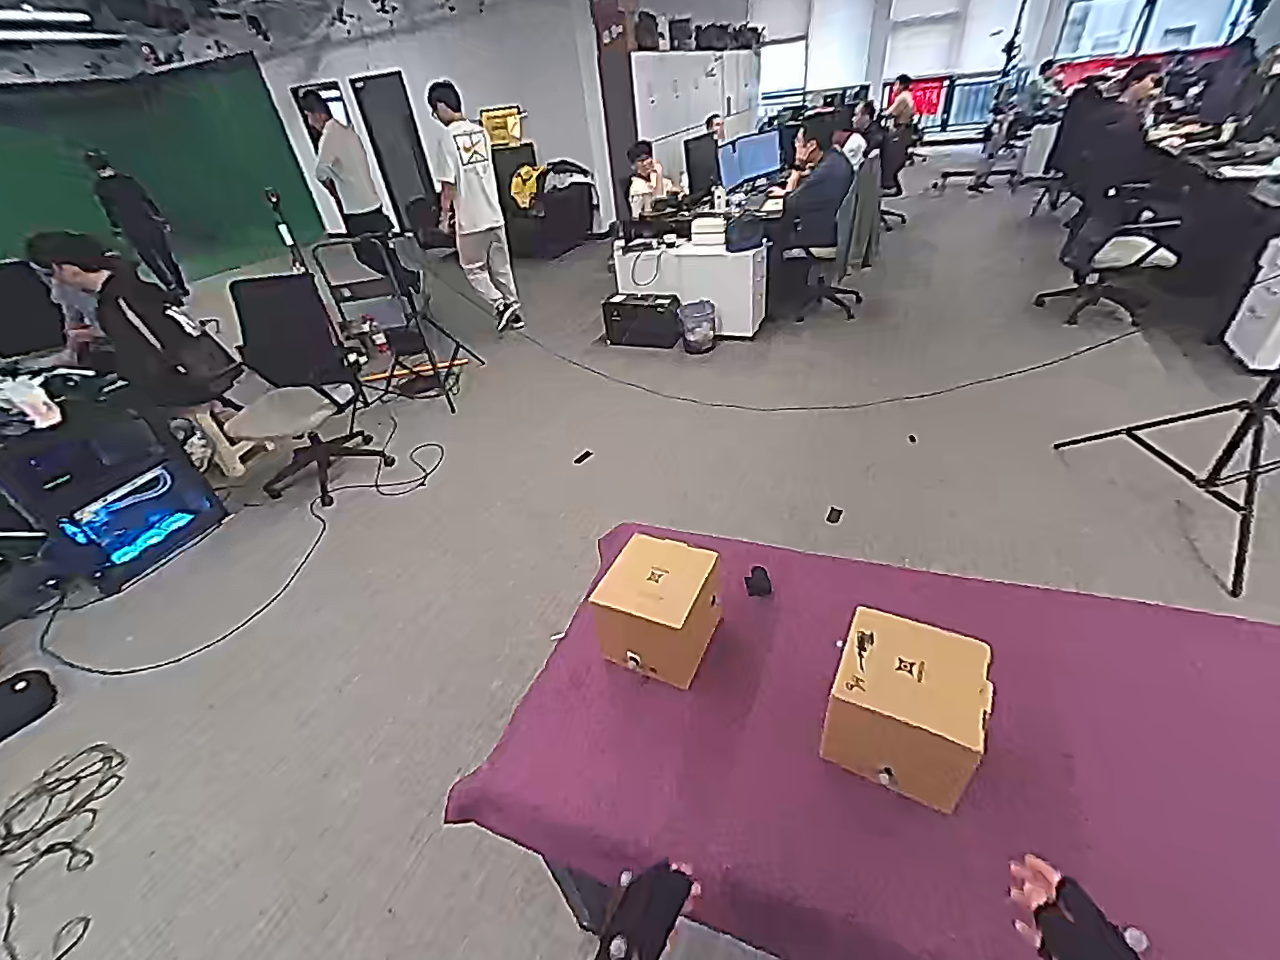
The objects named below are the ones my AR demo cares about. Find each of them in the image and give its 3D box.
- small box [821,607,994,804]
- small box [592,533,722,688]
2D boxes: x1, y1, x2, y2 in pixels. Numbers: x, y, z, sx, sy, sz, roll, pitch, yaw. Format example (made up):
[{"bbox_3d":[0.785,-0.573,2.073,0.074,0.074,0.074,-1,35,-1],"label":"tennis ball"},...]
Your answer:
[{"bbox_3d":[0.370,0.317,0.760,0.179,0.176,0.168,15,41,27],"label":"small box"},{"bbox_3d":[0.038,0.224,0.947,0.168,0.176,0.179,11,41,25],"label":"small box"}]
